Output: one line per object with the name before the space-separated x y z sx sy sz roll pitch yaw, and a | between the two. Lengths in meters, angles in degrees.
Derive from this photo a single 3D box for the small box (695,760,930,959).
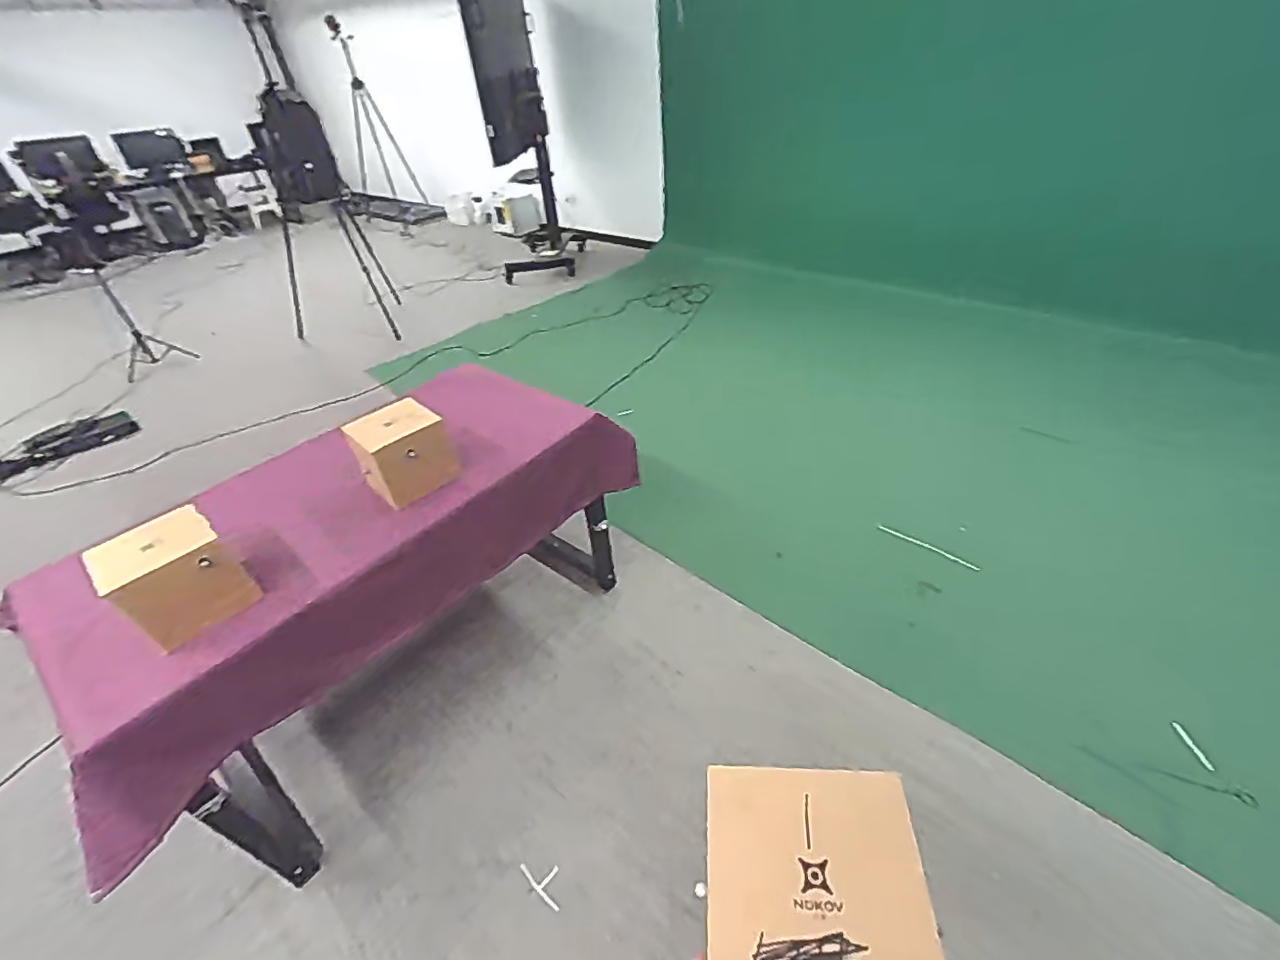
small box | 0.139 0.368 0.470 0.168 0.176 0.179 -4 42 10

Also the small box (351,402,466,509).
small box | -0.552 -0.058 1.304 0.179 0.176 0.168 -35 47 -31

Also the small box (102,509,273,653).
small box | -0.855 0.193 1.032 0.168 0.176 0.179 25 47 34
